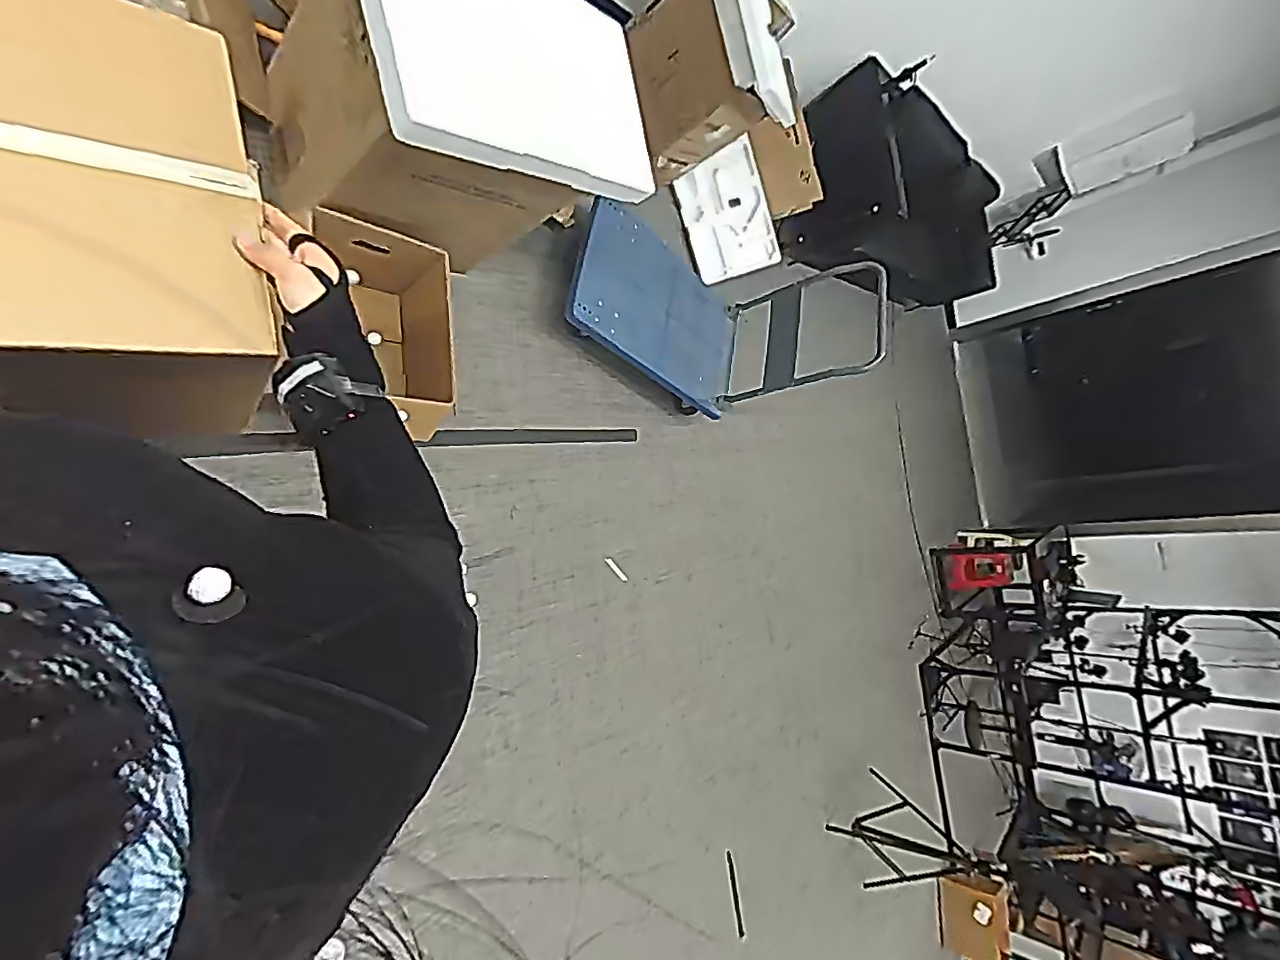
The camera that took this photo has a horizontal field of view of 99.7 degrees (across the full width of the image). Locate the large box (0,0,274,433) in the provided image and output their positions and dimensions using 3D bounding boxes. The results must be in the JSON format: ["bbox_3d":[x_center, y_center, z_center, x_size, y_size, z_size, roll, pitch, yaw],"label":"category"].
[{"bbox_3d":[-0.611,-0.222,0.483,0.408,0.320,0.320,-10,86,-42],"label":"large box"}]
